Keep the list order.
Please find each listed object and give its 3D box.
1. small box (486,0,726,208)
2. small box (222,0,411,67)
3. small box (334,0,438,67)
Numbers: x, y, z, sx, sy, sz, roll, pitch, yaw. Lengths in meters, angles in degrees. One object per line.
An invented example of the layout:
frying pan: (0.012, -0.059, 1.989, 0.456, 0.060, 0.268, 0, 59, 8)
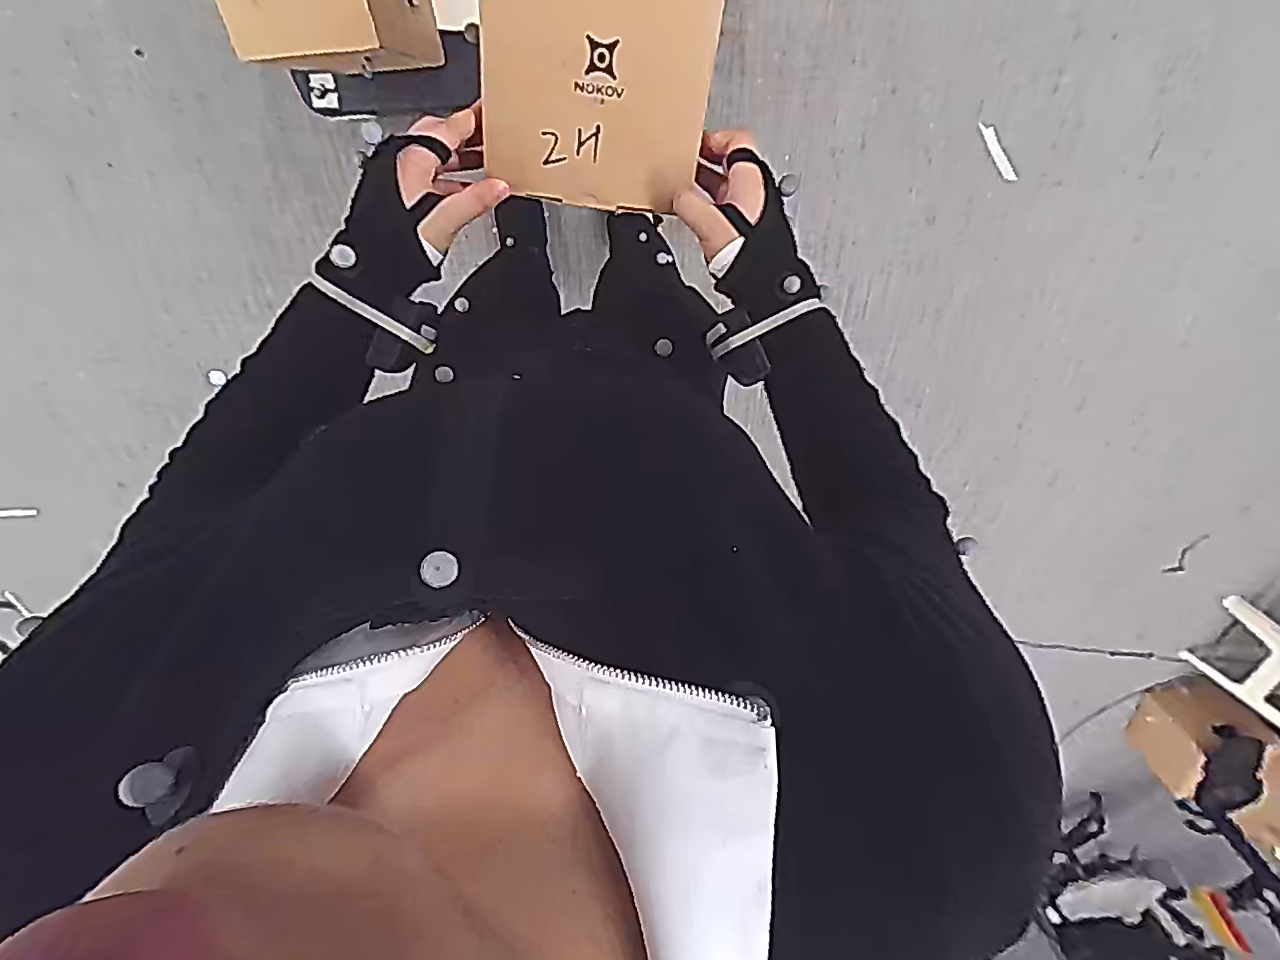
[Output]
small box: (-0.037, -0.348, 0.452, 0.168, 0.176, 0.179, 2, 127, -10)
small box: (-0.409, -0.634, 0.682, 0.179, 0.176, 0.168, -6, 124, 0)
small box: (-0.419, -0.729, 0.815, 0.179, 0.176, 0.168, -5, 125, 0)
